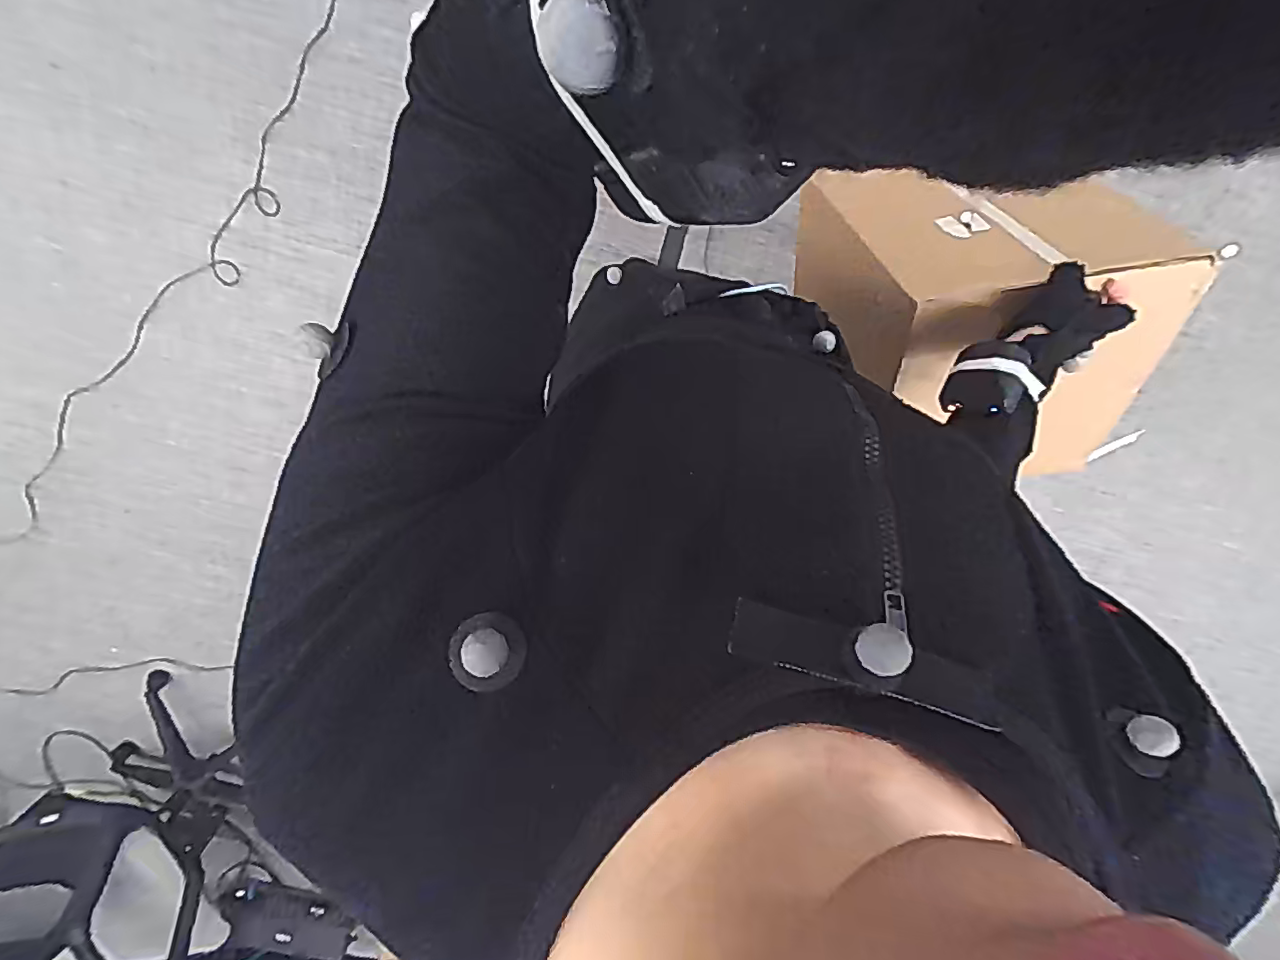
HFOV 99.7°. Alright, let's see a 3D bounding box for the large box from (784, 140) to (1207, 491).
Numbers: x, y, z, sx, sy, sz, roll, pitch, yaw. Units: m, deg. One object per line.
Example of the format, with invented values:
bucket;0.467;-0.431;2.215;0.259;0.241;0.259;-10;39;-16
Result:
large box;0.430;-0.247;0.799;0.320;0.408;0.320;-9;139;2
